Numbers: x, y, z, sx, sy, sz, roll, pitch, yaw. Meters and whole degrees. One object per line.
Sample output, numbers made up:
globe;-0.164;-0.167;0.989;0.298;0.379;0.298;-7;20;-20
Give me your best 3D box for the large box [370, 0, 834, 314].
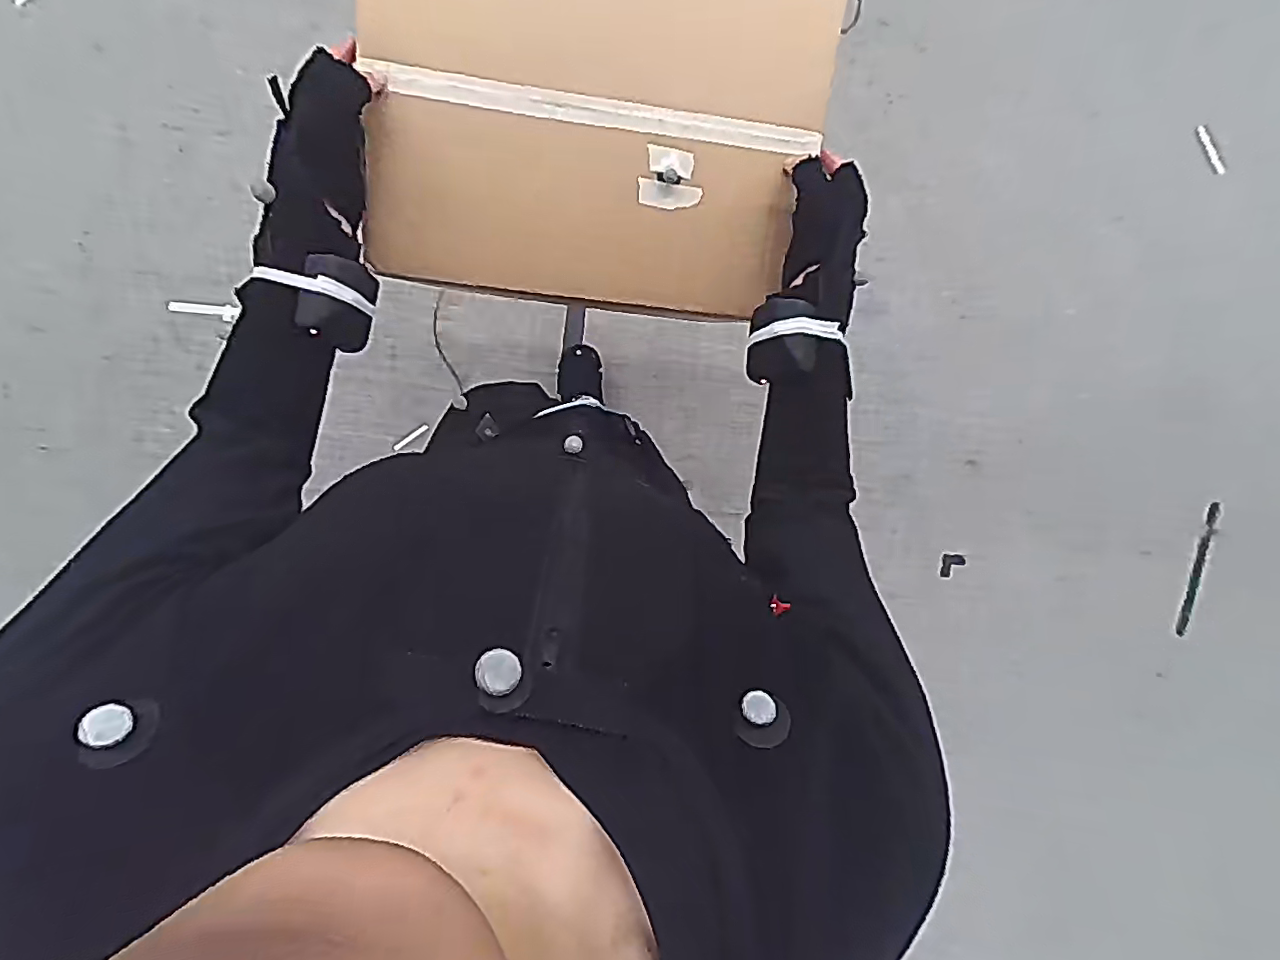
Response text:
large box;-0.052;-0.374;0.629;0.408;0.320;0.320;4;107;-8
